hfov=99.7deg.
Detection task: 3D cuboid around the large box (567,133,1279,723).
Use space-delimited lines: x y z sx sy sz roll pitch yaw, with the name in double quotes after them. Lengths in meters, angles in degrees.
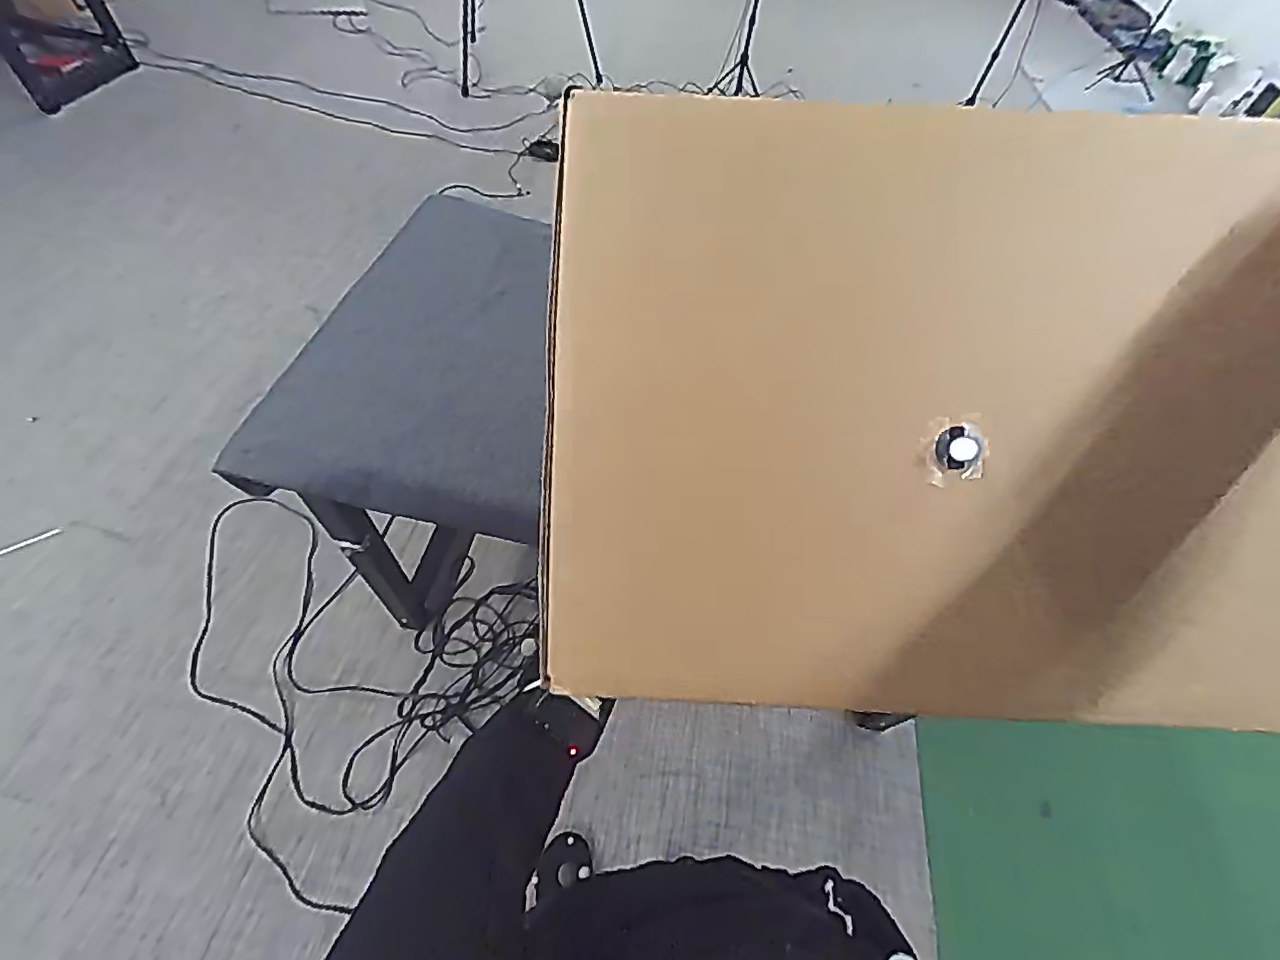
0.161 -0.033 0.434 0.408 0.320 0.320 1 95 0 "large box"
